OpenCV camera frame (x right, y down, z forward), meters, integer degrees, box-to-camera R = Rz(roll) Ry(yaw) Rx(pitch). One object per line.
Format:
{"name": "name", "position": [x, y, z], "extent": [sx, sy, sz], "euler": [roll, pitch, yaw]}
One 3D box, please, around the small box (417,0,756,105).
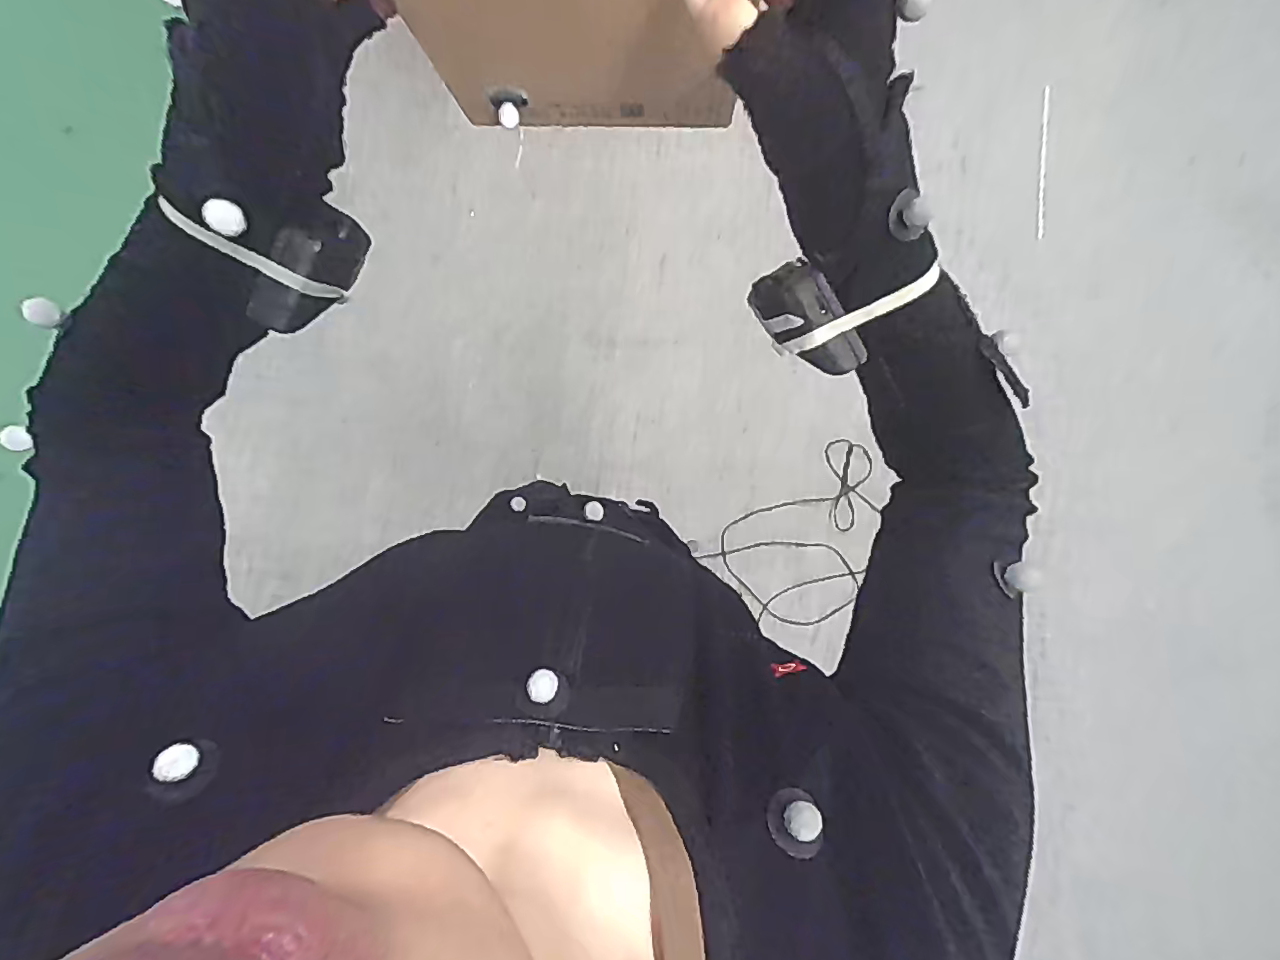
{"name": "small box", "position": [-0.024, -0.304, 0.244], "extent": [0.168, 0.176, 0.179], "euler": [1, 95, 1]}
